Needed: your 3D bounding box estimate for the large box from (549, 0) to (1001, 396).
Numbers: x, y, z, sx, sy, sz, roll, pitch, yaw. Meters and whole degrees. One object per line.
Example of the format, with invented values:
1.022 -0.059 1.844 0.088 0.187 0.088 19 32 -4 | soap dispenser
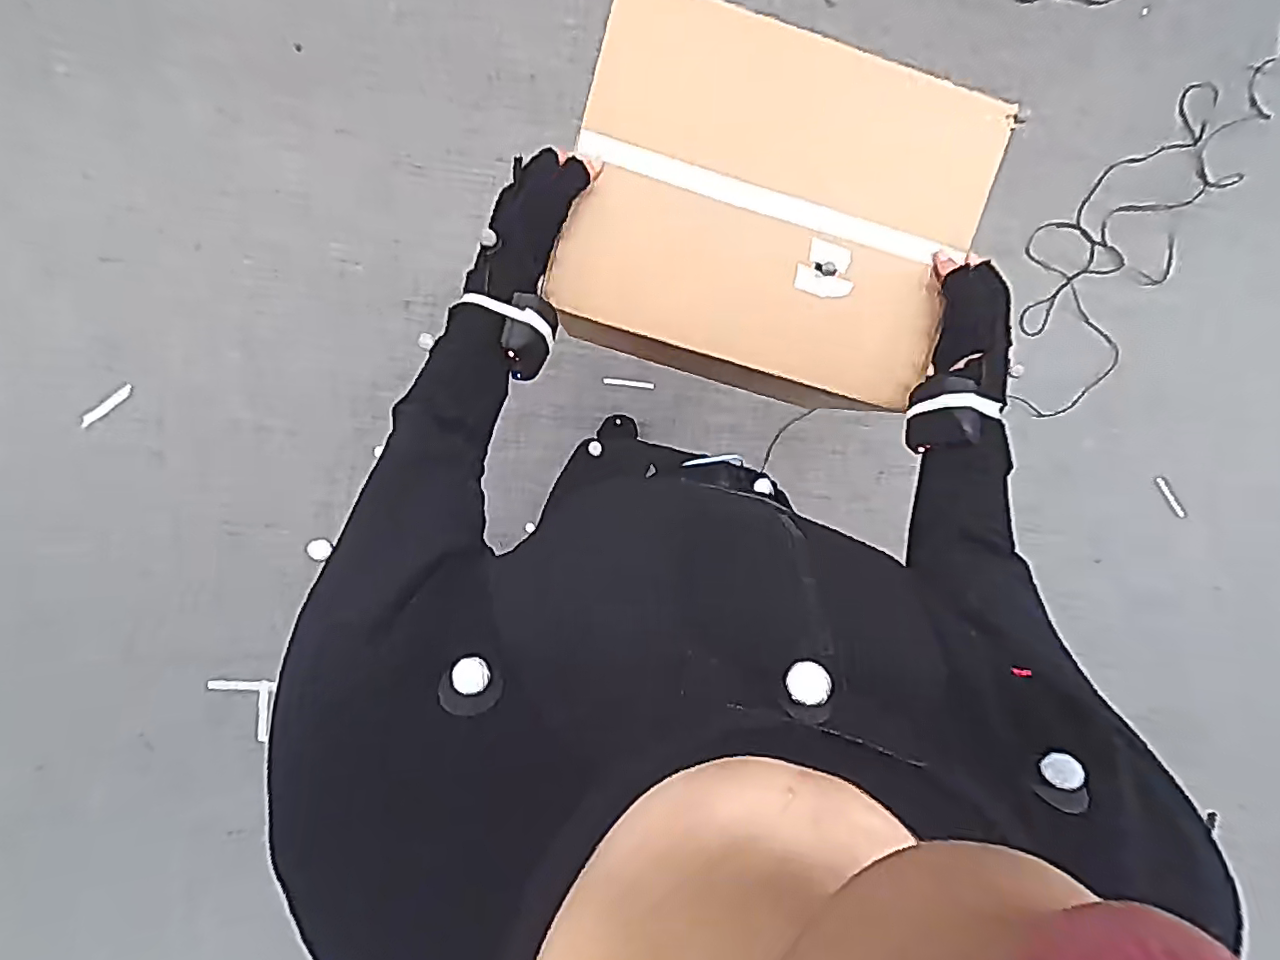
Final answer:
0.124 -0.307 0.689 0.408 0.320 0.320 15 99 -6 | large box
